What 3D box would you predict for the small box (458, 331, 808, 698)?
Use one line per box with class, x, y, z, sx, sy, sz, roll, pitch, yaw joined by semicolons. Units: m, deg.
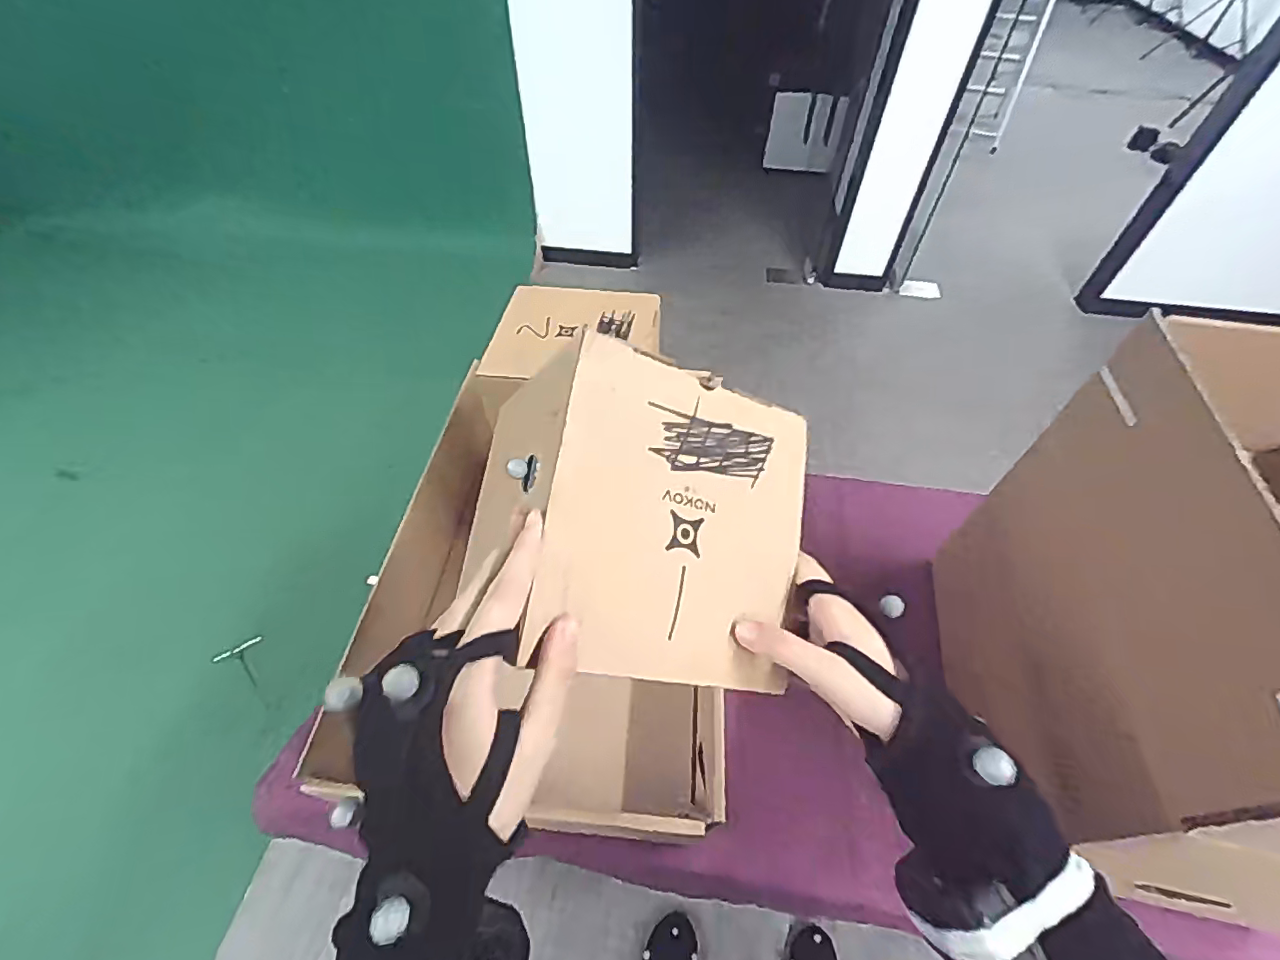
small box;-0.013;0.033;0.366;0.168;0.176;0.179;15;76;-26
